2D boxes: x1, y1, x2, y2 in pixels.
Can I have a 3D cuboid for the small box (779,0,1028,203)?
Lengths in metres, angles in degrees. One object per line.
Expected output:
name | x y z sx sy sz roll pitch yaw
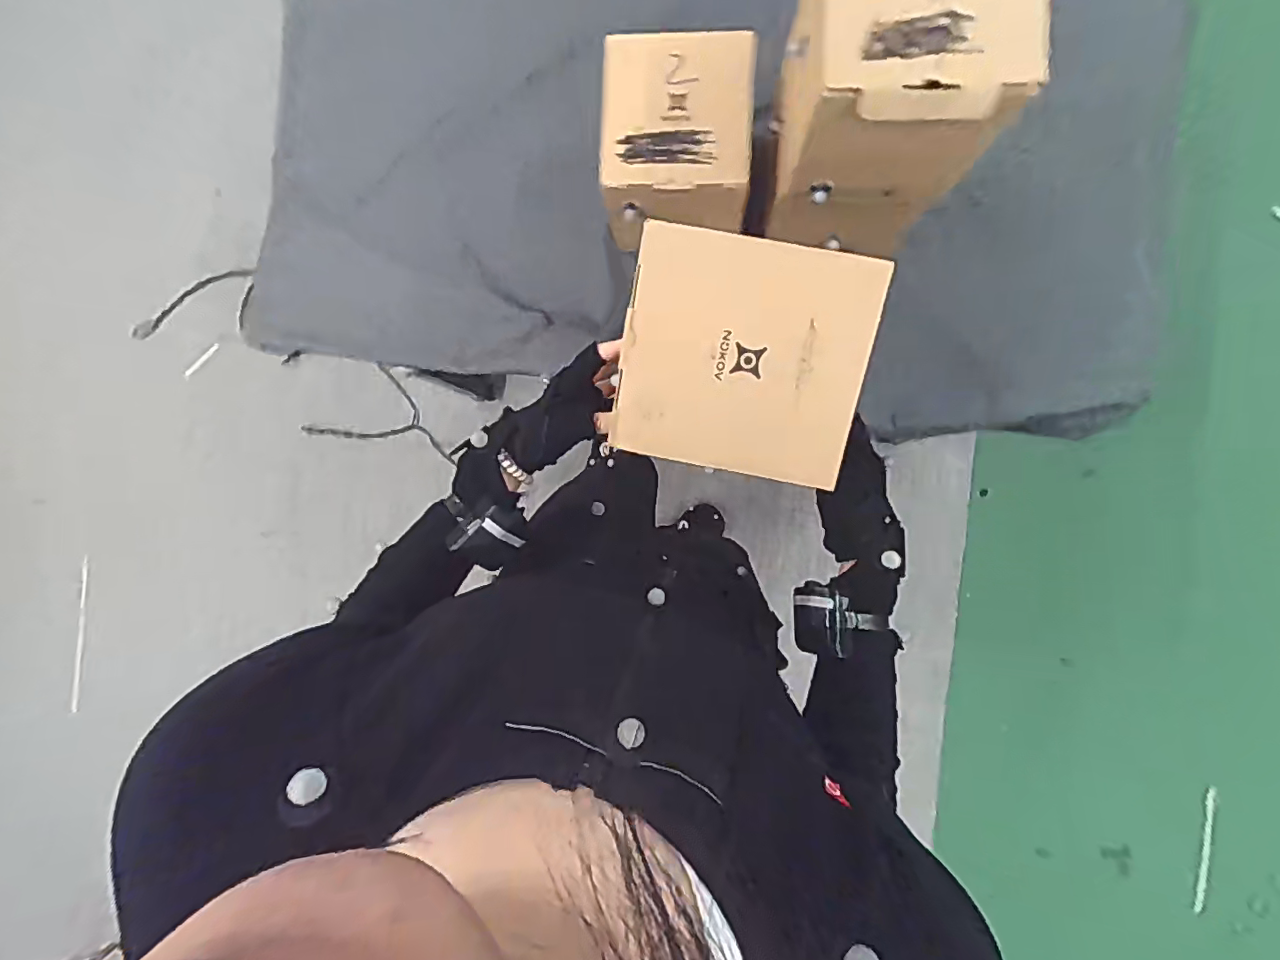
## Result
small box | 0.228 -0.384 0.508 0.168 0.176 0.179 3 89 5

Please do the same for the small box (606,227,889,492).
small box | 0.081 -0.102 0.473 0.179 0.176 0.168 12 104 3

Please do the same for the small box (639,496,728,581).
small box | 0.112 0.161 1.412 0.179 0.176 0.168 11 62 -17
